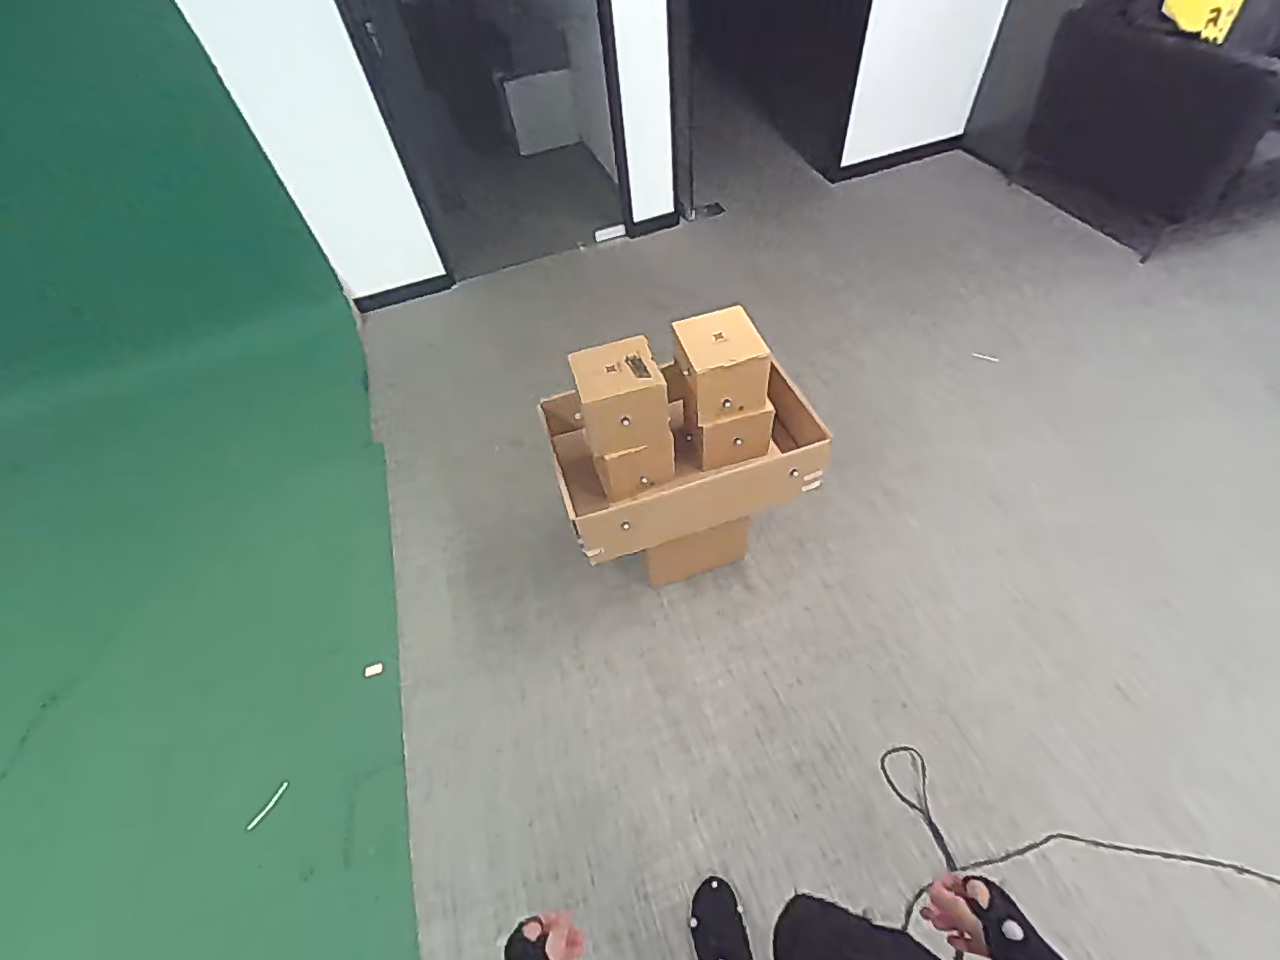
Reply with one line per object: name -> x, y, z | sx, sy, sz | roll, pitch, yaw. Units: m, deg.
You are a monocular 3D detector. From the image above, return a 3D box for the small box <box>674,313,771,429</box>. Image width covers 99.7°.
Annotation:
small box -> 0.180, -0.244, 1.223 | 0.168, 0.176, 0.179 | -16, 52, -5

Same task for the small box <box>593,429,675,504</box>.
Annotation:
small box -> -0.023, -0.073, 1.318 | 0.168, 0.176, 0.179 | -20, 53, -10

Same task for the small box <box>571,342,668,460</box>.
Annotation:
small box -> -0.041, -0.170, 1.187 | 0.179, 0.176, 0.168 | -15, 51, -4
